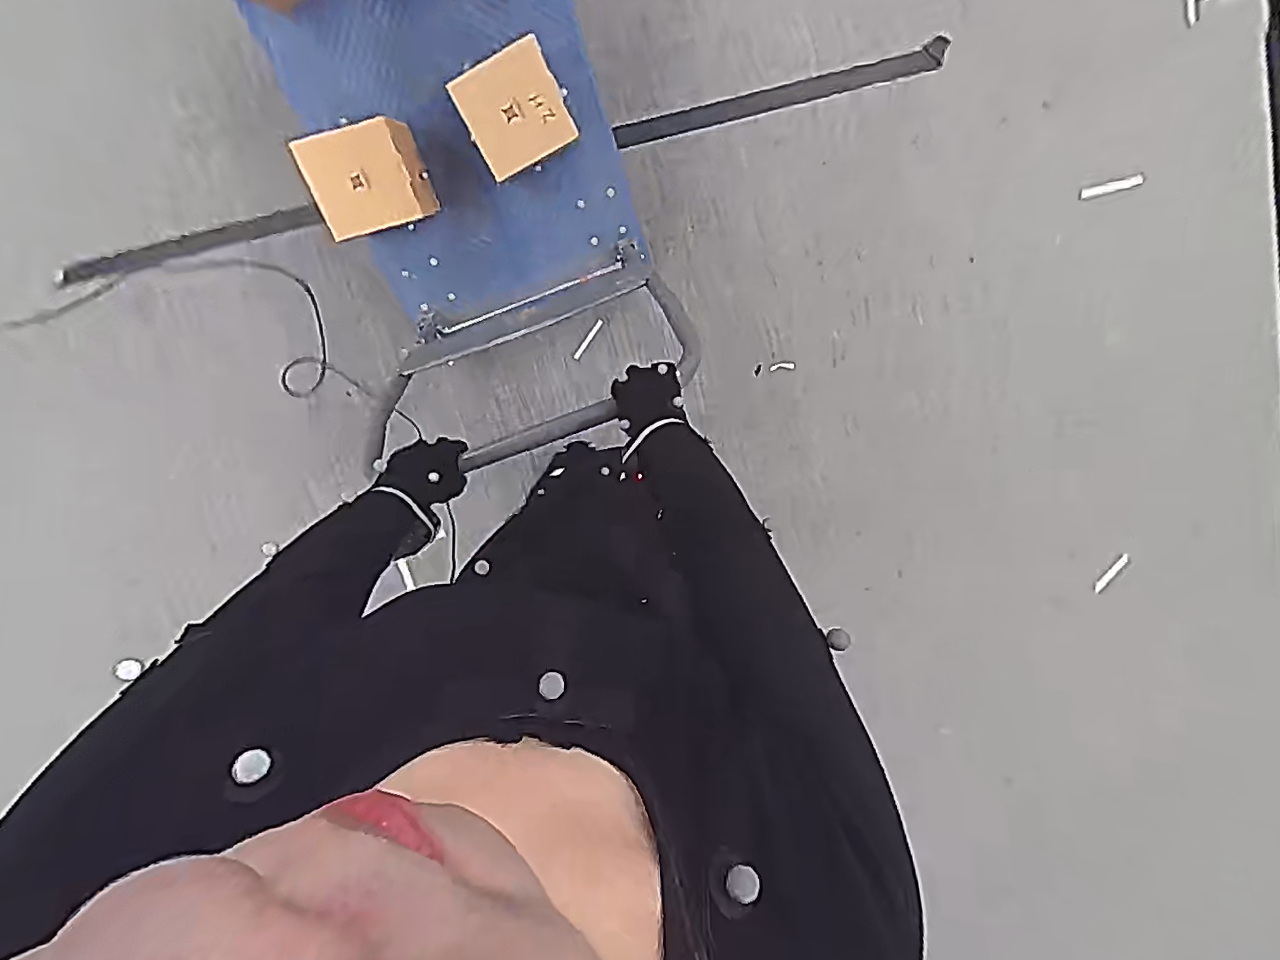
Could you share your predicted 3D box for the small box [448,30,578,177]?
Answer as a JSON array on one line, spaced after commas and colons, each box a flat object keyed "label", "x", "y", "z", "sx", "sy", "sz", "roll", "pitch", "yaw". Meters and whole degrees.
[{"label": "small box", "x": -0.227, "y": -0.694, "z": 1.020, "sx": 0.179, "sy": 0.176, "sz": 0.168, "roll": -25, "pitch": 120, "yaw": 7}]

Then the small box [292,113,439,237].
[{"label": "small box", "x": -0.514, "y": -0.582, "z": 1.045, "sx": 0.179, "sy": 0.176, "sz": 0.168, "roll": -17, "pitch": 120, "yaw": 0}]
